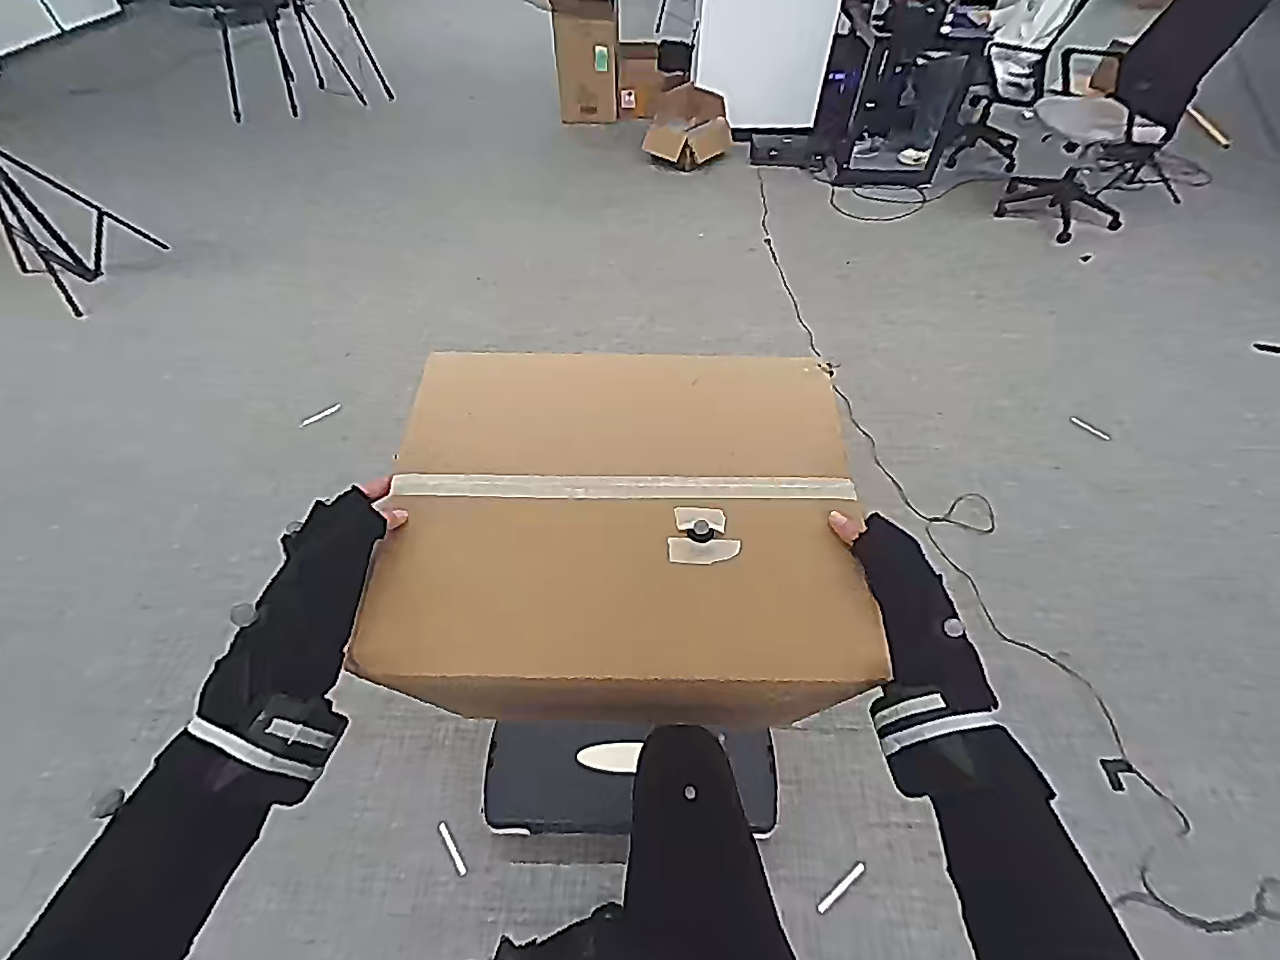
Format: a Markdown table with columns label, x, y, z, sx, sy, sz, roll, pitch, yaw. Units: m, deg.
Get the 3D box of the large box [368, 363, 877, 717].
| label | x | y | z | sx | sy | sz | roll | pitch | yaw |
| --- | --- | --- | --- | --- | --- | --- | --- | --- | --- |
| large box | -0.014 | 0.085 | 0.617 | 0.408 | 0.320 | 0.320 | 1 | 60 | 0 |
